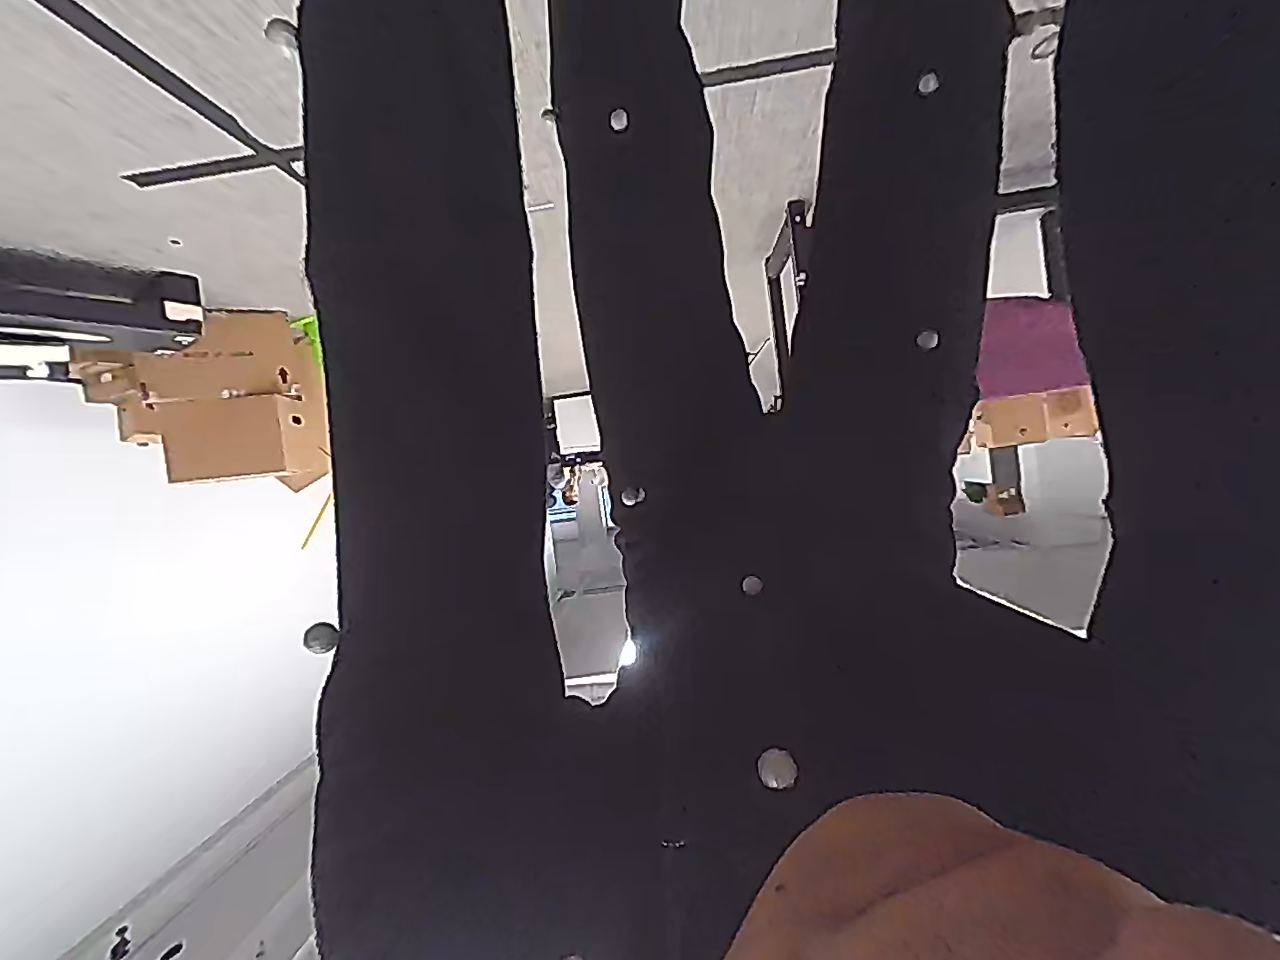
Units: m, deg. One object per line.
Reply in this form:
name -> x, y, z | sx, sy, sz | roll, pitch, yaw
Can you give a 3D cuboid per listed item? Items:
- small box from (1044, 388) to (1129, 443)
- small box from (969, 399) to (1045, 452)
small box -> 1.586, -0.231, 1.932 | 0.168, 0.176, 0.179 | -7, -178, 0
small box -> 1.329, -0.197, 1.967 | 0.179, 0.176, 0.168 | -7, -179, 14
